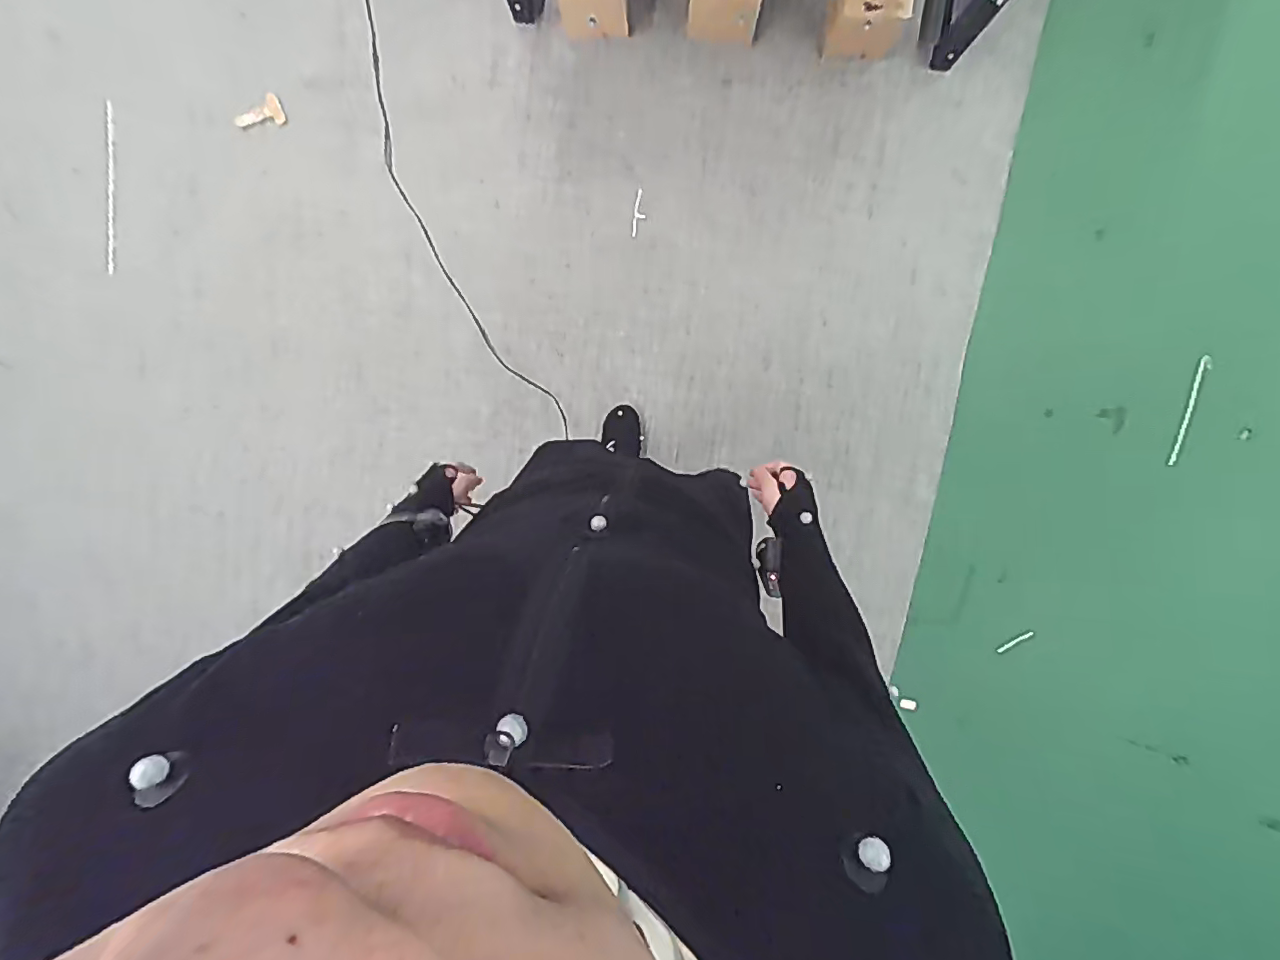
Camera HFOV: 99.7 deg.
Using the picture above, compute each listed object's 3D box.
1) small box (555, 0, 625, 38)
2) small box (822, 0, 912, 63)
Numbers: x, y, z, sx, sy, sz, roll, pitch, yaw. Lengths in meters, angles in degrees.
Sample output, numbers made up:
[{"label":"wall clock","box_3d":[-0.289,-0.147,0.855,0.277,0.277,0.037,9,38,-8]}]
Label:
[{"label":"small box","box_3d":[-0.124,-1.259,1.365,0.168,0.176,0.179,-1,98,2]},{"label":"small box","box_3d":[0.565,-1.194,1.355,0.168,0.176,0.179,1,97,1]}]
